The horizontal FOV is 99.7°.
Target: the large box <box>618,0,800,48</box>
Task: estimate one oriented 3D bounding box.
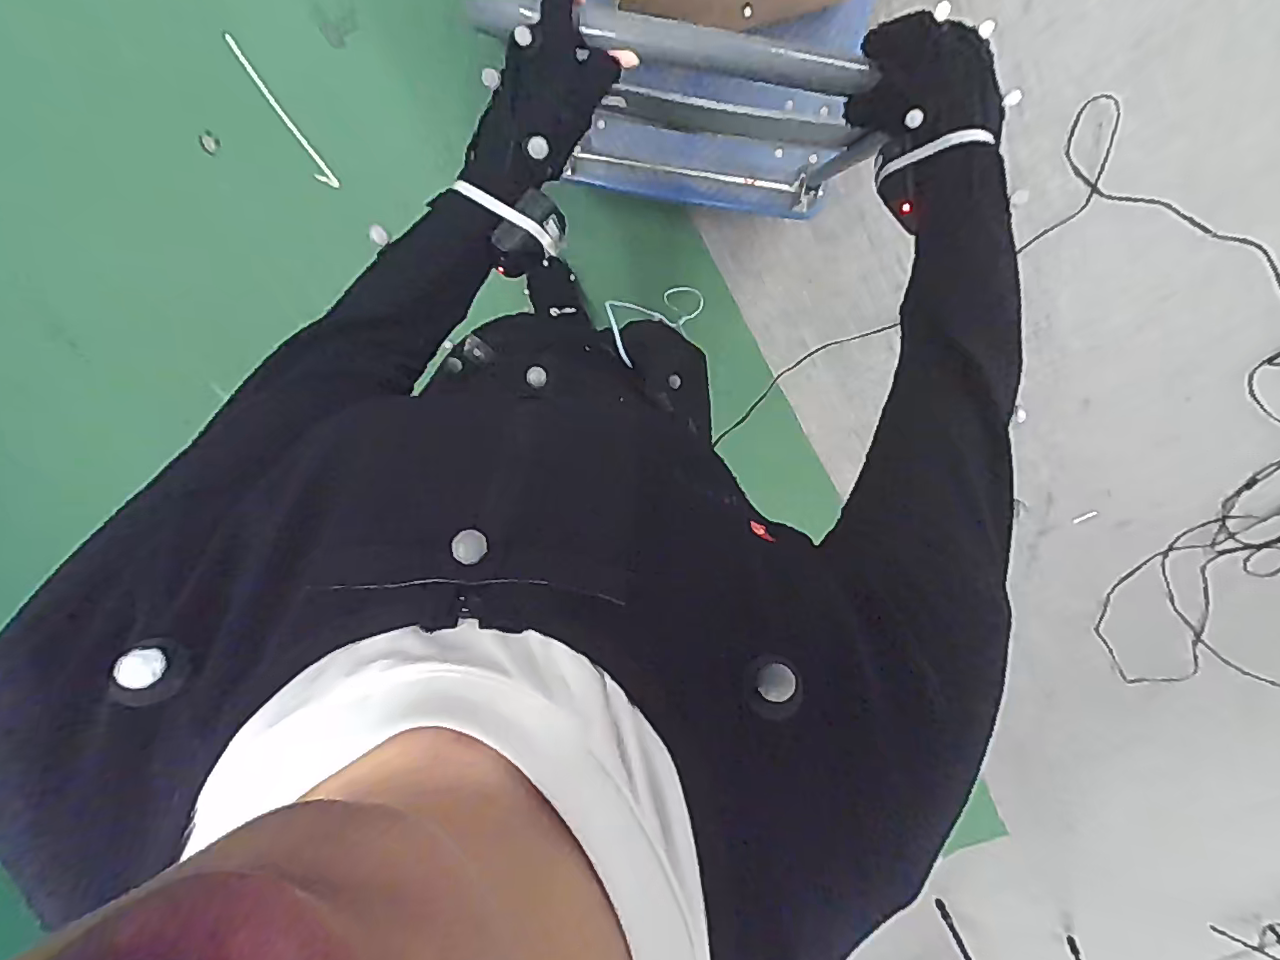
[{"bbox_3d":[0.140,-0.909,0.790,0.408,0.320,0.320,-11,114,6],"label":"large box"}]
